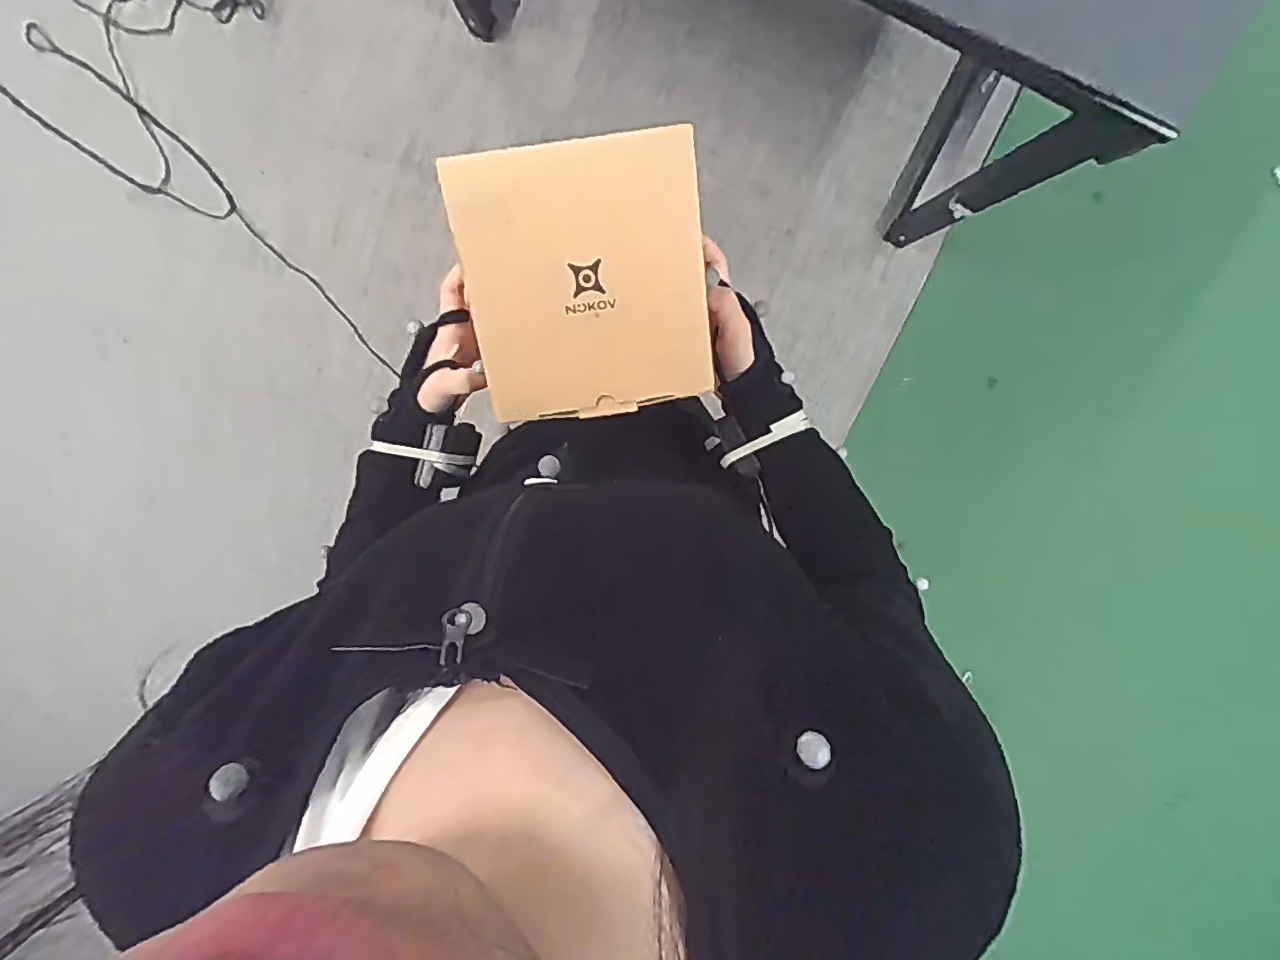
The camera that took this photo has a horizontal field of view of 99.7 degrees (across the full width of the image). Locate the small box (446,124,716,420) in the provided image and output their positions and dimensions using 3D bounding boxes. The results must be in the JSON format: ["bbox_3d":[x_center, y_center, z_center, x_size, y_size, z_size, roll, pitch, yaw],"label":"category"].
[{"bbox_3d":[-0.041,-0.164,0.443,0.168,0.176,0.179,-9,113,-2],"label":"small box"}]
